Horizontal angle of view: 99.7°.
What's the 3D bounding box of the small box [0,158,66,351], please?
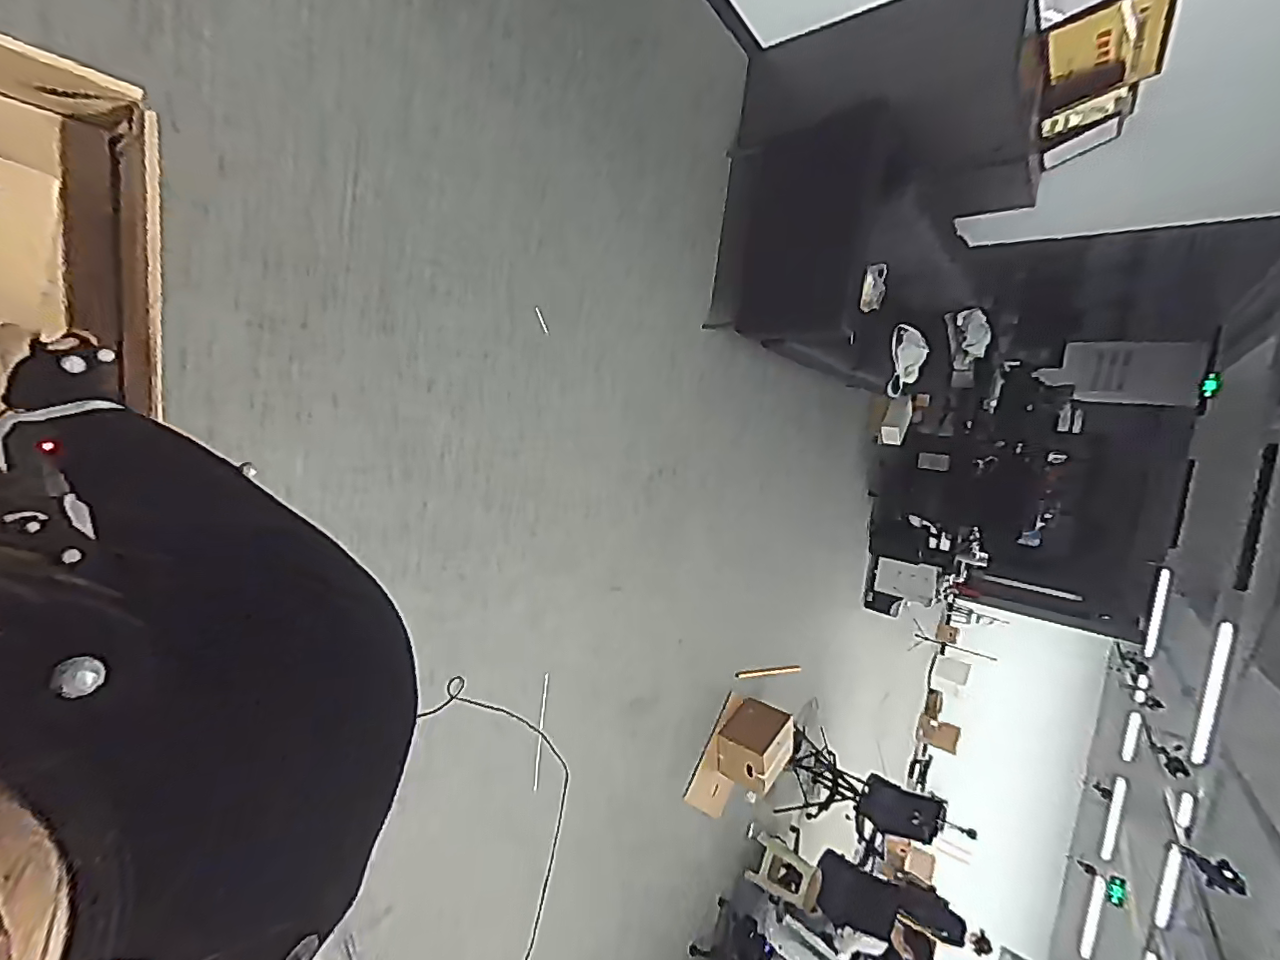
[{"bbox_3d":[-0.700,-0.234,0.527,0.168,0.176,0.179,6,95,-54],"label":"small box"}]
